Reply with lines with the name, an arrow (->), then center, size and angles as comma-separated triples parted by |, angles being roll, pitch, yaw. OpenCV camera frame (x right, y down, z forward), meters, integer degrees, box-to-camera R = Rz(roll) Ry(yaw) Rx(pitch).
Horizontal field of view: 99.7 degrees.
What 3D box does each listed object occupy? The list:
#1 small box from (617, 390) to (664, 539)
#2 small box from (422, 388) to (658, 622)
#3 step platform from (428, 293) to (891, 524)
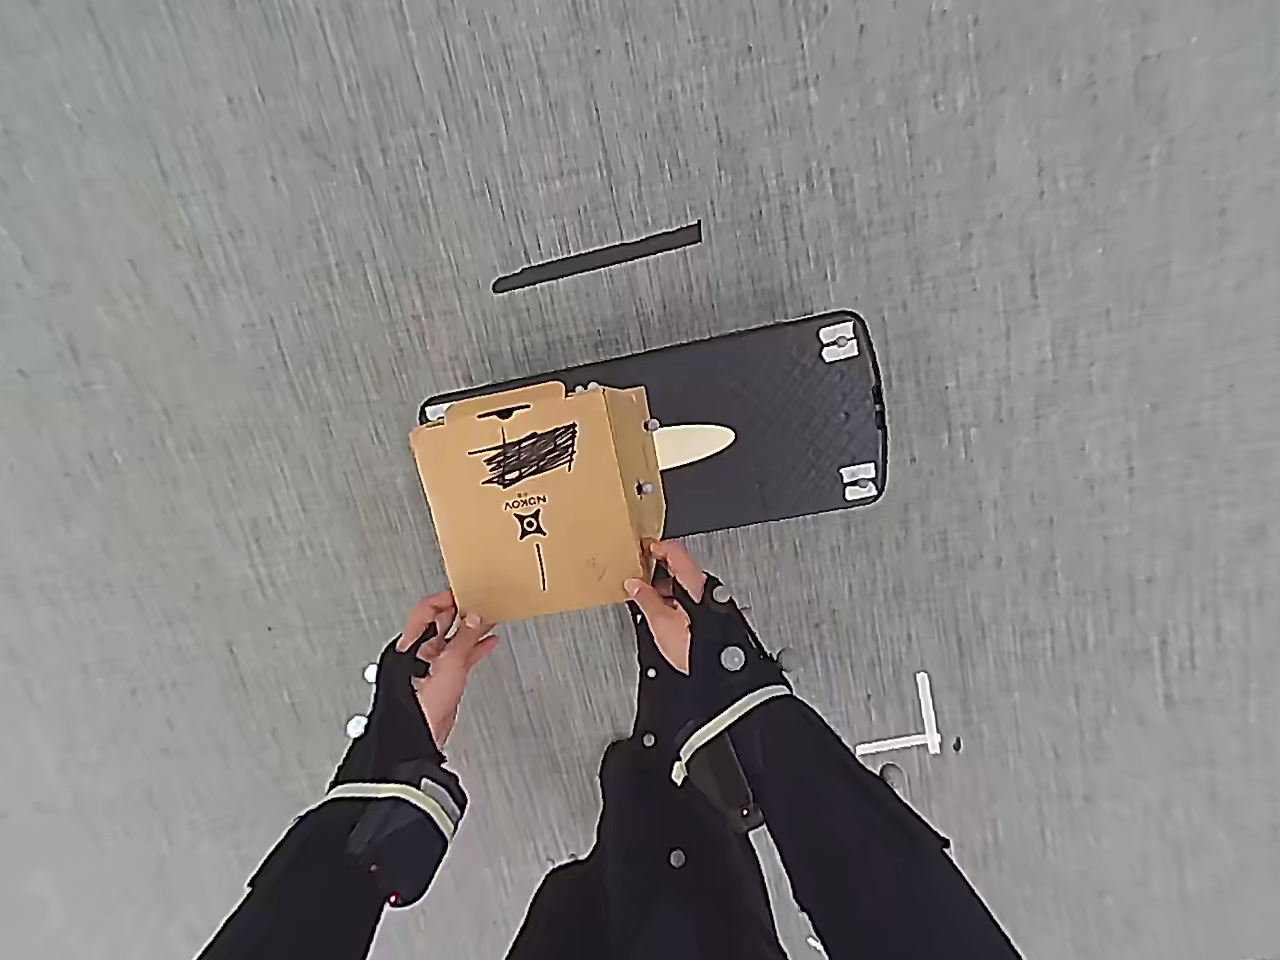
small box -> -0.063, -0.018, 0.701 | 0.168, 0.176, 0.179 | -9, 100, 6
small box -> -0.079, 0.014, 0.527 | 0.168, 0.176, 0.179 | -11, 97, 7
step platform -> 0.026, -0.083, 0.860 | 0.684, 0.204, 0.286 | -11, 99, 6
